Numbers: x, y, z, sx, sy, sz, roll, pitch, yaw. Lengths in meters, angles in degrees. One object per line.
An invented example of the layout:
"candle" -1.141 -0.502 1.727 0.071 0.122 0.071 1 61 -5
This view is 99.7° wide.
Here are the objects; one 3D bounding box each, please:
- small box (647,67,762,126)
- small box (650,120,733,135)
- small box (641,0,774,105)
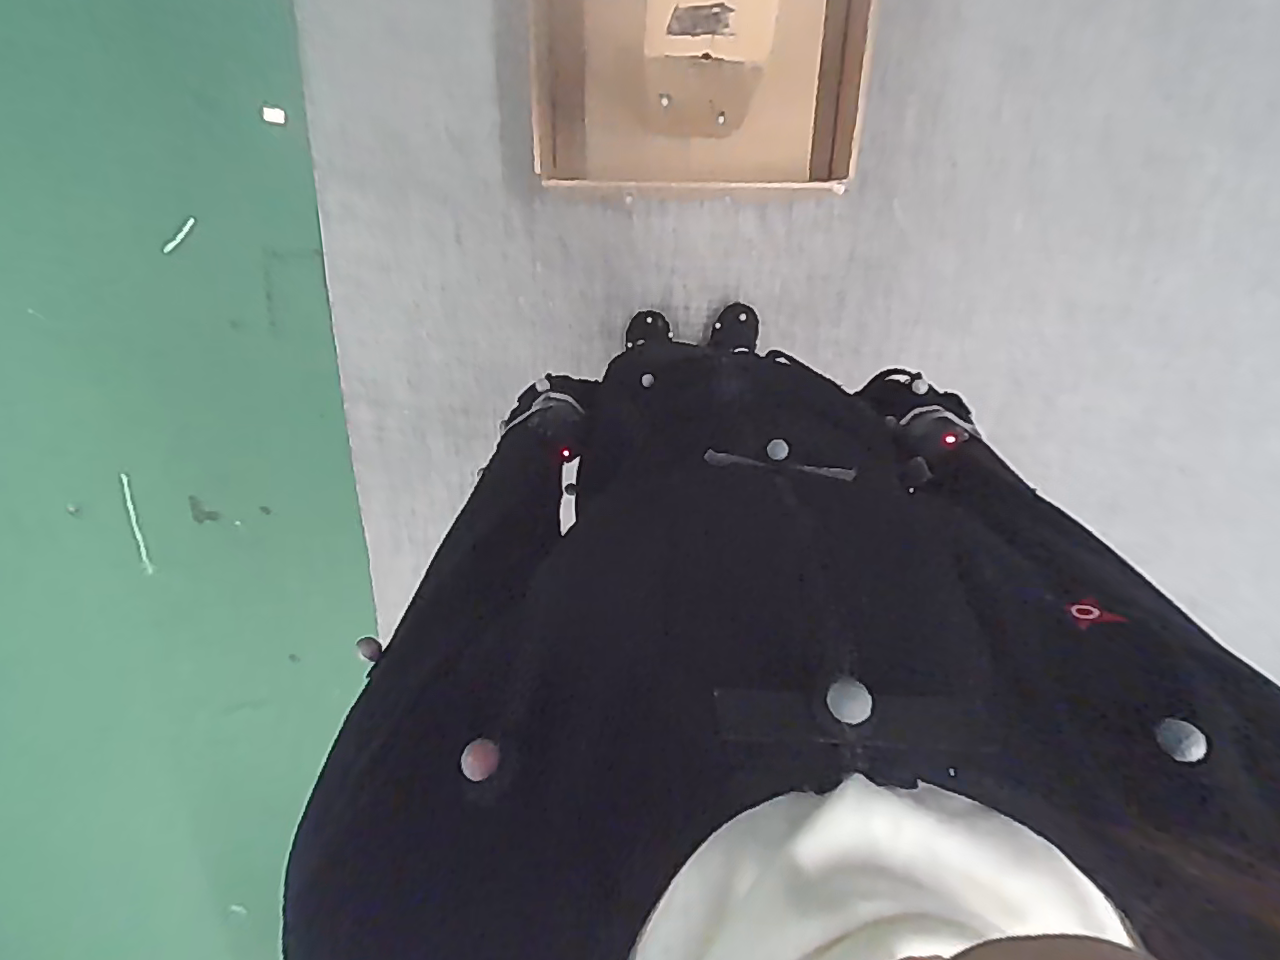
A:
"small box" 0.102 -0.700 0.888 0.179 0.176 0.168 1 109 1
"small box" 0.105 -0.787 1.049 0.179 0.176 0.168 0 108 1
"small box" 0.093 -0.649 0.749 0.168 0.176 0.179 5 108 0
